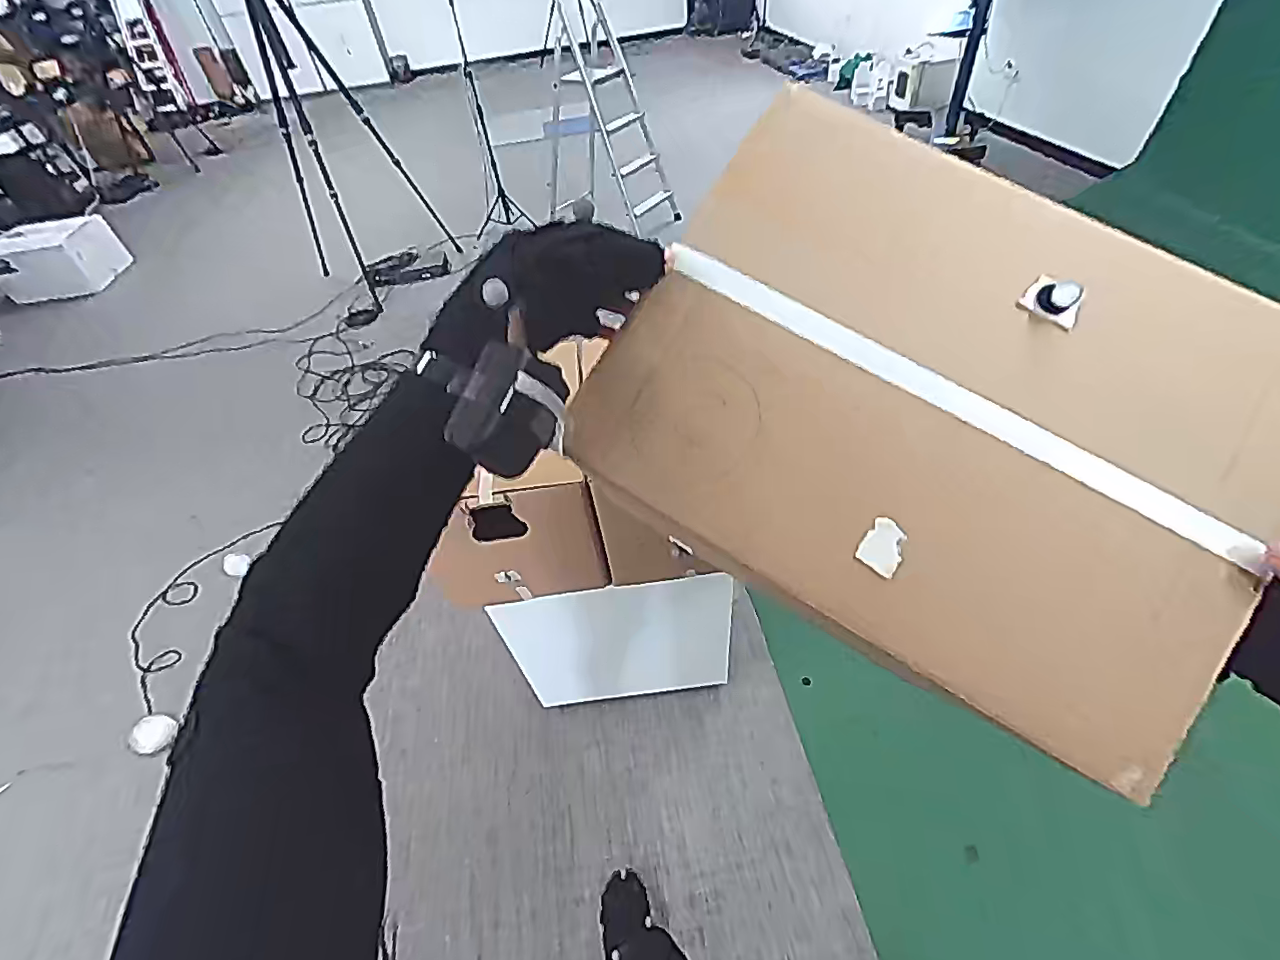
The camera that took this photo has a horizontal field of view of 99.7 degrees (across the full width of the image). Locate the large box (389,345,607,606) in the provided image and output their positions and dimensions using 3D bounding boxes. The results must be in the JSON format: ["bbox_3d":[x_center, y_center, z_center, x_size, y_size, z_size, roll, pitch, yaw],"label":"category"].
[{"bbox_3d":[-0.254,-0.014,1.089,0.320,0.320,0.408,-8,46,-1],"label":"large box"}]
